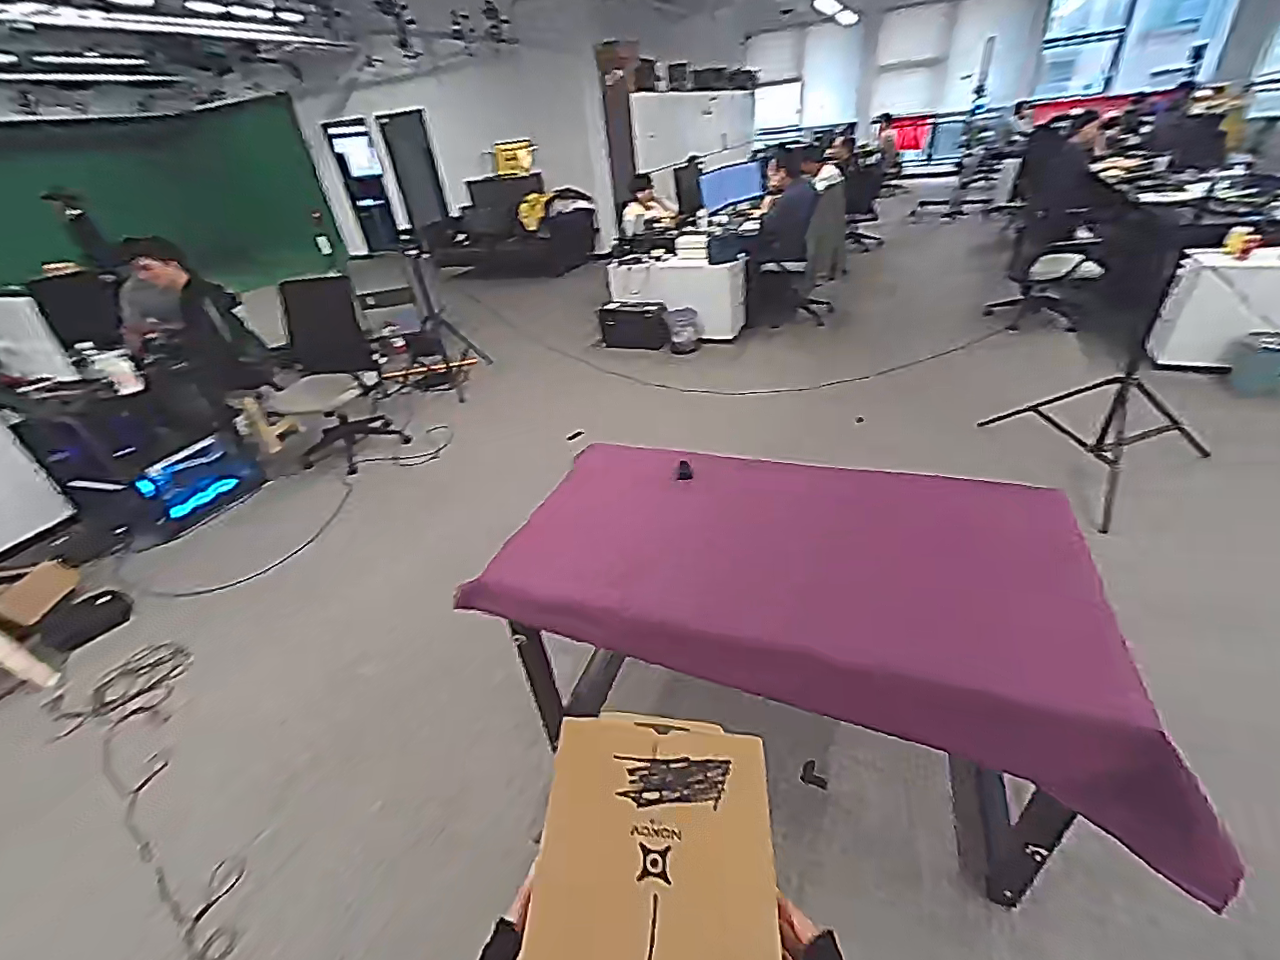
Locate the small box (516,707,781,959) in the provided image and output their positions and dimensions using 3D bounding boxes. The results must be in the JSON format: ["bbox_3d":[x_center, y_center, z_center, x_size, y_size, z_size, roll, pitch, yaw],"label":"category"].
[{"bbox_3d":[0.007,0.312,0.433,0.168,0.176,0.179,5,41,1],"label":"small box"}]
